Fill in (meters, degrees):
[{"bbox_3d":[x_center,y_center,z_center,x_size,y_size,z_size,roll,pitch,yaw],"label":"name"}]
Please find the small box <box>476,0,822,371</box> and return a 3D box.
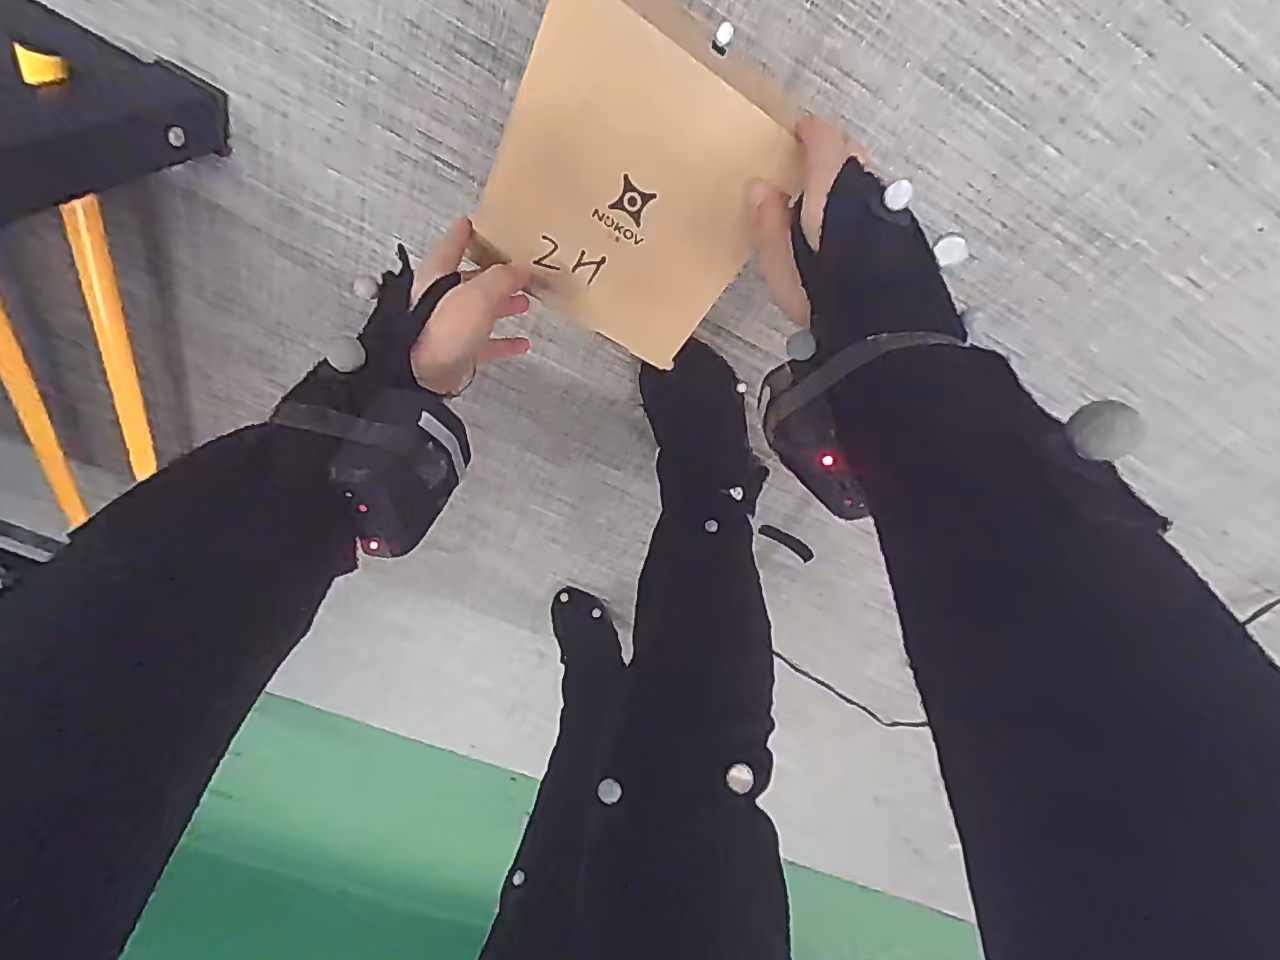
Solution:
[{"bbox_3d":[0.004,-0.225,0.405,0.168,0.176,0.179,27,131,-16],"label":"small box"}]
